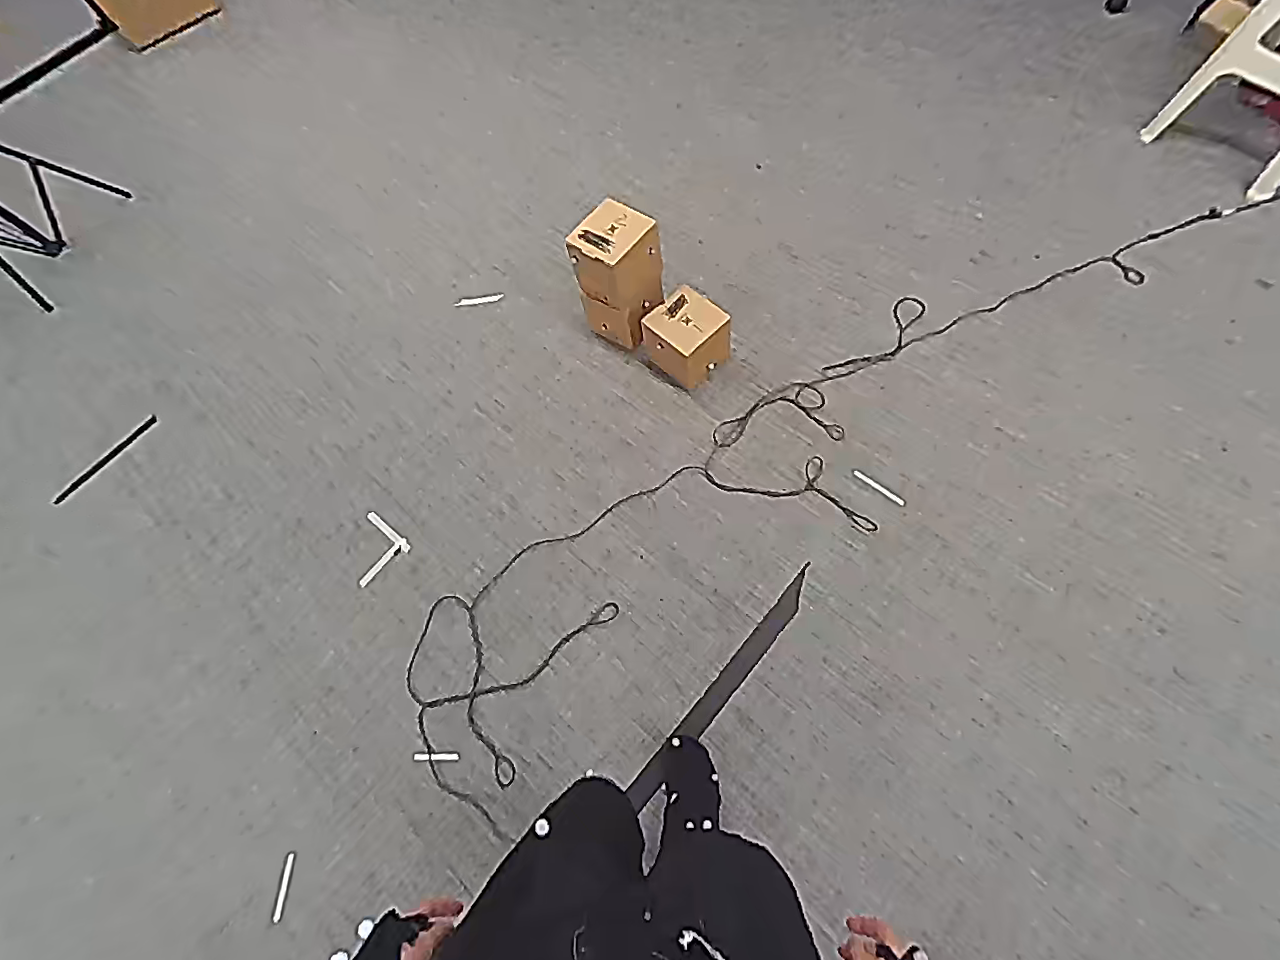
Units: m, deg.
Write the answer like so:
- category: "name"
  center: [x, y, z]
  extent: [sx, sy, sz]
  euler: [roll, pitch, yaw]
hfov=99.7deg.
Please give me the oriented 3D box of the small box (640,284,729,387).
- category: "small box"
  center: [0.123, -0.389, 1.480]
  extent: [0.168, 0.176, 0.179]
  euler: [-43, 68, -11]

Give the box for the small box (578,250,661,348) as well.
- category: "small box"
  center: [-0.051, -0.520, 1.565]
  extent: [0.168, 0.176, 0.179]
  euler: [30, 74, 19]
